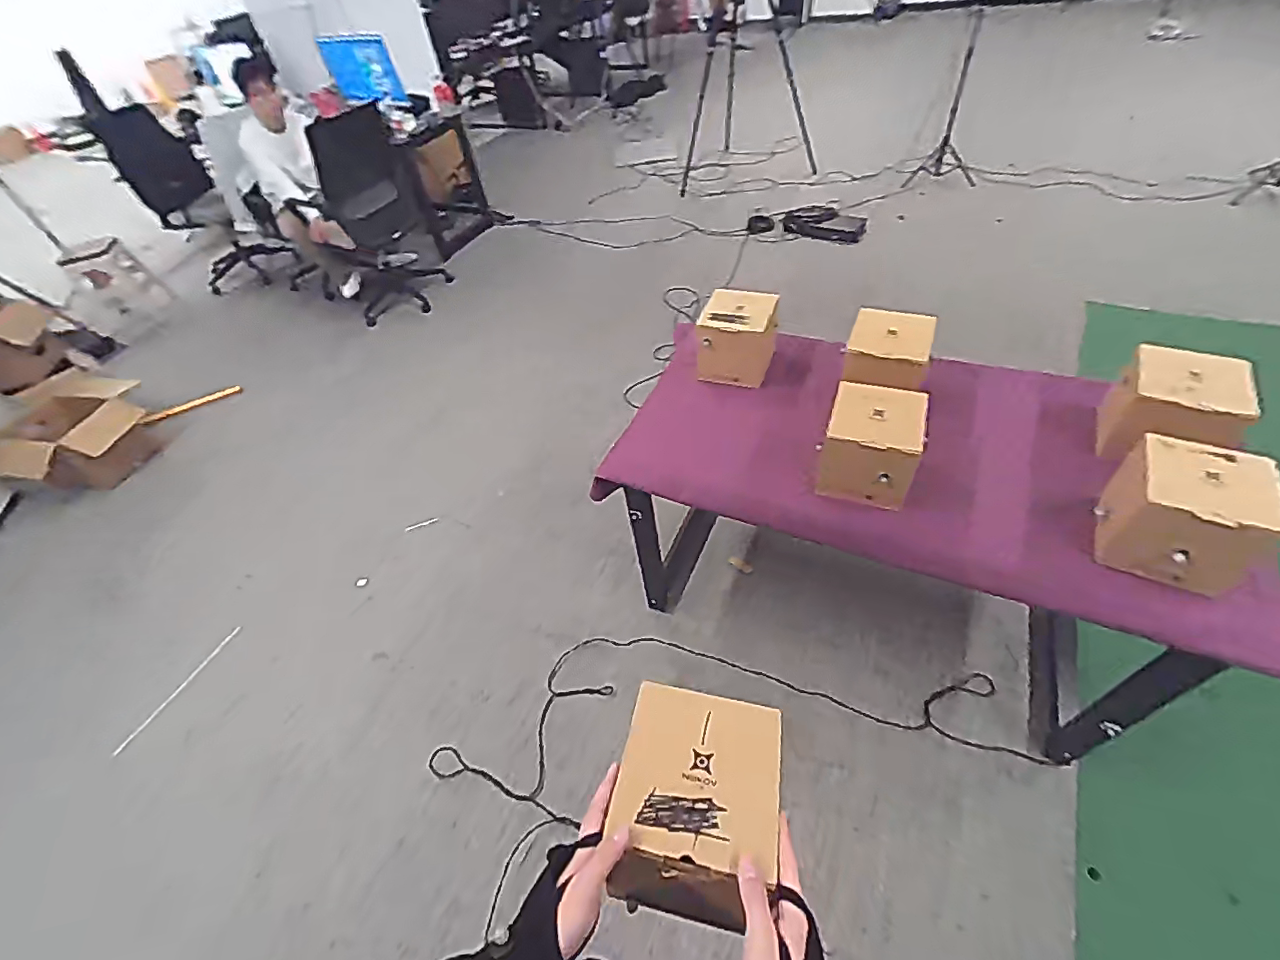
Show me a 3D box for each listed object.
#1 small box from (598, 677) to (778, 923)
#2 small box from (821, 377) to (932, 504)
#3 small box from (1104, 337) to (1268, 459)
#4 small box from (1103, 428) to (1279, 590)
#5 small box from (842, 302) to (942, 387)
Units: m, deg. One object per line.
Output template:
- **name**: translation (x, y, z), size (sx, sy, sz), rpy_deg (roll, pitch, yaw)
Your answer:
- **small box**: translation (0.058, 0.358, 0.609), size (0.168, 0.176, 0.179), rpy_deg (8, 39, 10)
- **small box**: translation (0.464, -0.077, 1.074), size (0.168, 0.176, 0.179), rpy_deg (14, 51, 20)
- **small box**: translation (1.030, -0.143, 1.036), size (0.168, 0.176, 0.179), rpy_deg (20, 55, 26)
- **small box**: translation (0.899, 0.049, 0.885), size (0.168, 0.176, 0.179), rpy_deg (20, 54, 25)
- **small box**: translation (0.569, -0.278, 1.237), size (0.168, 0.176, 0.179), rpy_deg (15, 54, 21)
